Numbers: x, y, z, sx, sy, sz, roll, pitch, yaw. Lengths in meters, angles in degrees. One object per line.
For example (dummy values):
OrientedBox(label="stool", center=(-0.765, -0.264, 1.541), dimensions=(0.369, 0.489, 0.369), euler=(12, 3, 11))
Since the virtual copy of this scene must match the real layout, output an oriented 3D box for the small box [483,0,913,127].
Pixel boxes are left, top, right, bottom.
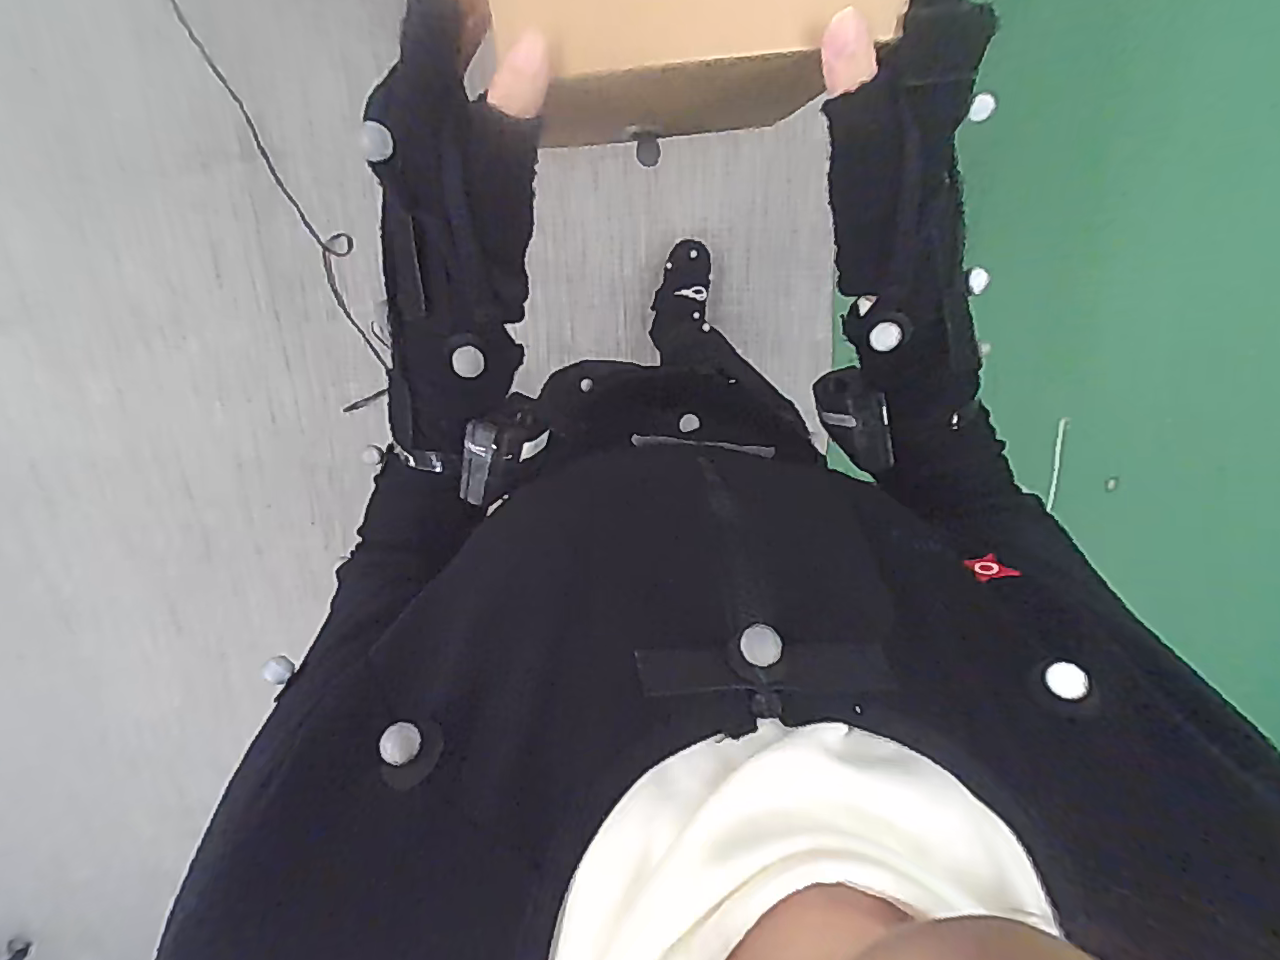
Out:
OrientedBox(label="small box", center=(0.009, -0.281, 0.239), dimensions=(0.168, 0.176, 0.179), euler=(-8, 115, -3))
